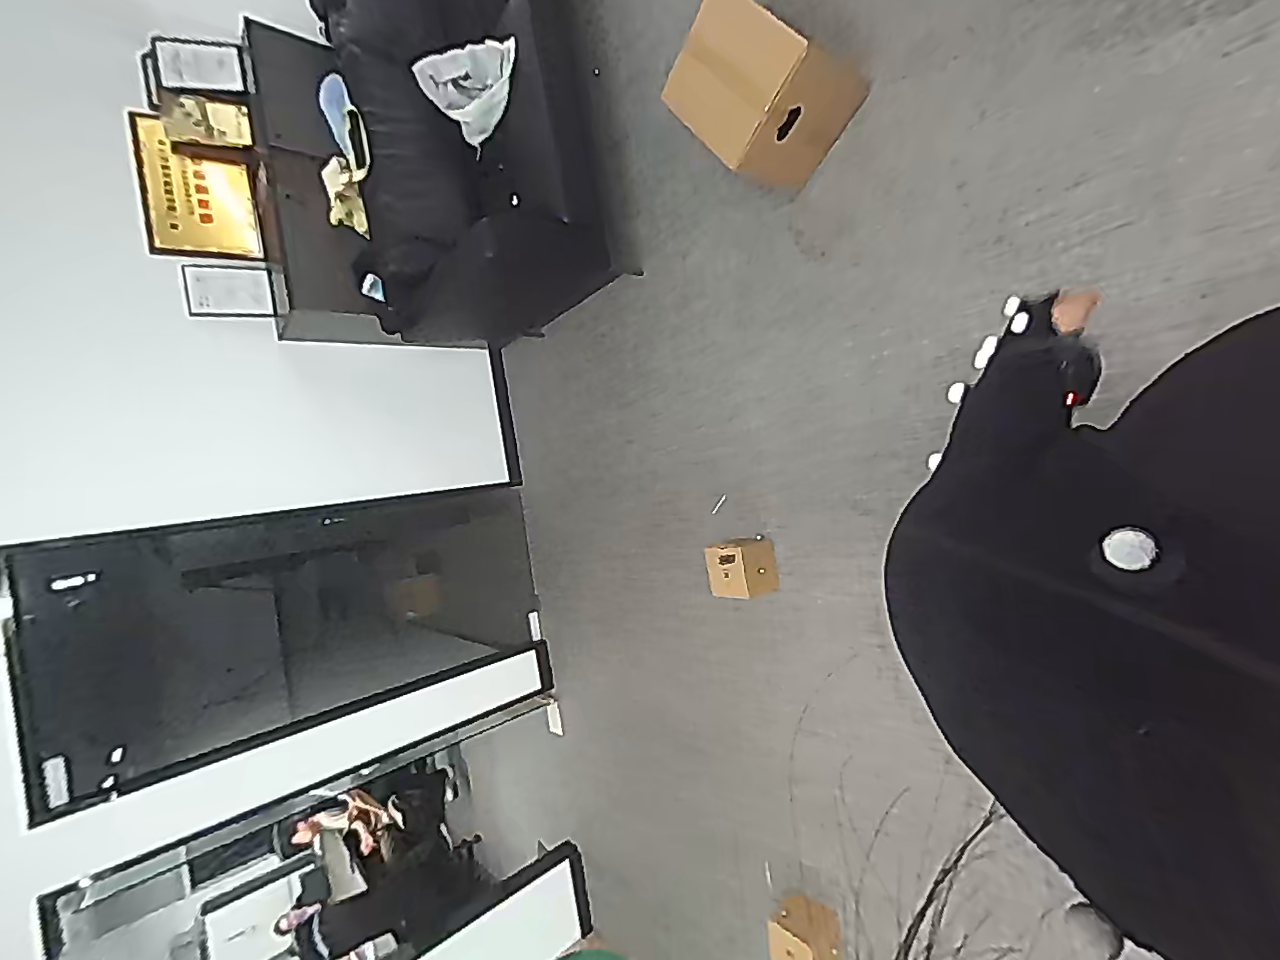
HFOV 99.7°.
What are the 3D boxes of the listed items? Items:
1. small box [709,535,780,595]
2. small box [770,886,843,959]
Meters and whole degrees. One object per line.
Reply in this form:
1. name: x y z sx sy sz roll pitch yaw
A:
1. small box: 0.364 0.289 1.881 0.168 0.176 0.179 -8 91 50
2. small box: 0.570 1.543 1.850 0.179 0.176 0.168 -2 96 49
